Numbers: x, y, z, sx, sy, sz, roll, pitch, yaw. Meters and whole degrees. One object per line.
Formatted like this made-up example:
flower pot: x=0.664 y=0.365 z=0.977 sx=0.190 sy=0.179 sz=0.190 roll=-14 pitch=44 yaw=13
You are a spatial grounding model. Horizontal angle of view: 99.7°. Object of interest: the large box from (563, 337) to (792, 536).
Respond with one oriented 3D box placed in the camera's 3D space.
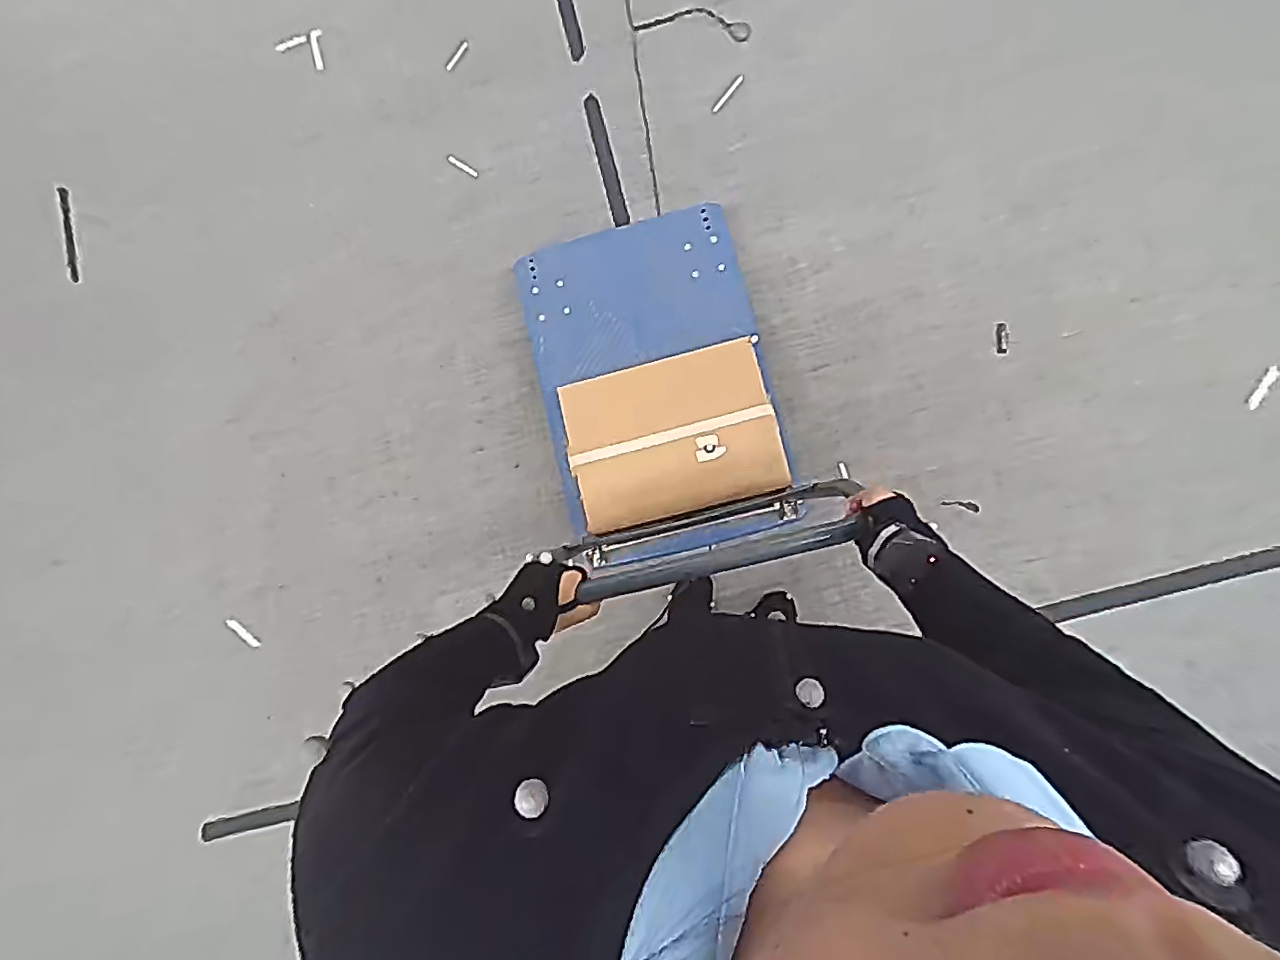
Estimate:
large box: x=0.080 y=-0.073 z=1.224 sx=0.408 sy=0.320 sz=0.320 roll=-15 pitch=83 yaw=3
